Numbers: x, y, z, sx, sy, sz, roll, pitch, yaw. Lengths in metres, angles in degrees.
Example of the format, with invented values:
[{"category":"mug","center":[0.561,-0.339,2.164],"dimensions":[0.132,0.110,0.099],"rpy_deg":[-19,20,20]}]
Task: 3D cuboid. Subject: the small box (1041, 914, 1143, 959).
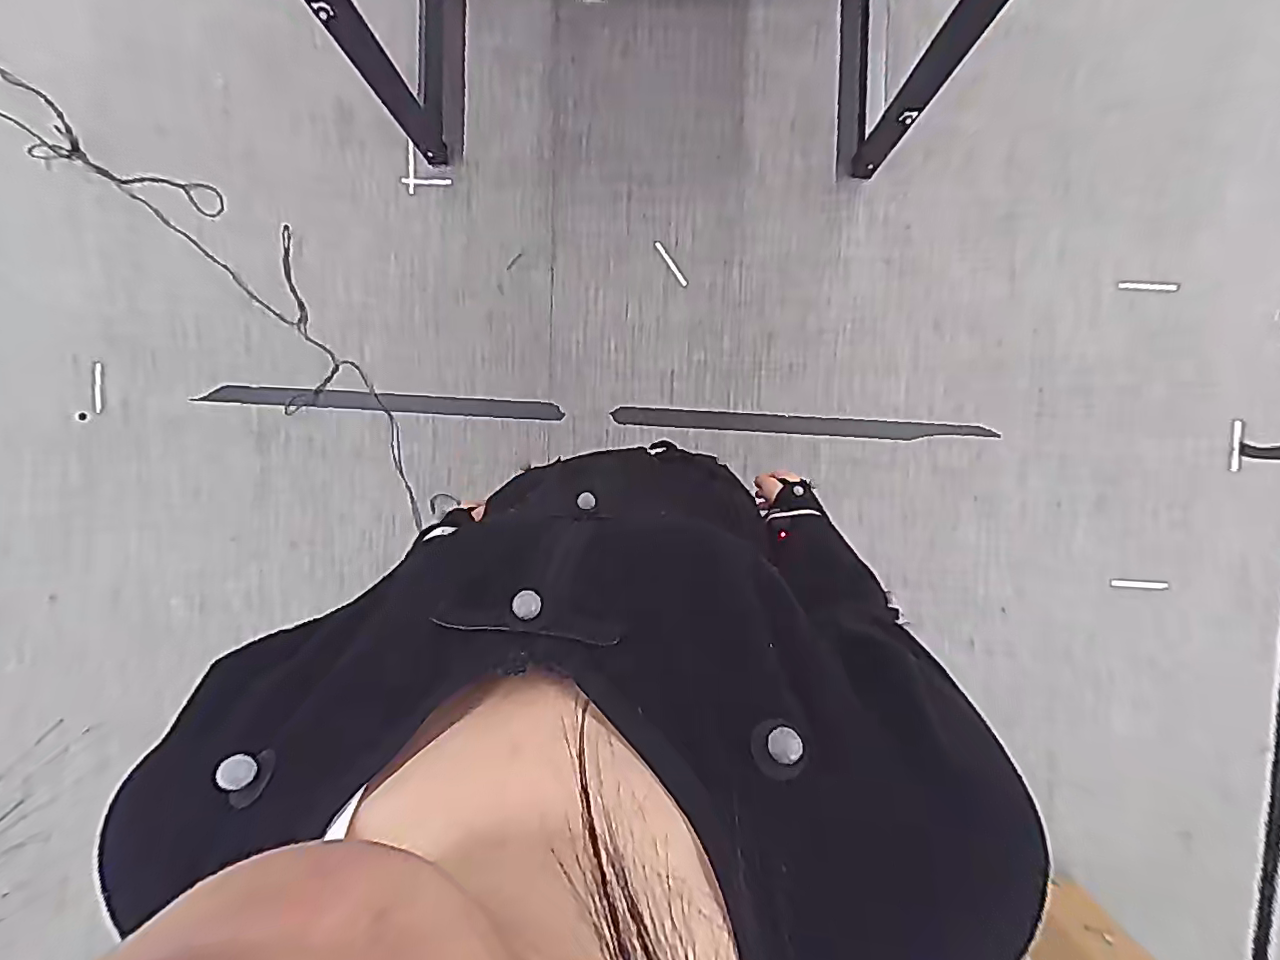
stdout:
[{"category":"small box","center":[1.103,1.199,1.293],"dimensions":[0.168,0.176,0.179],"rpy_deg":[6,92,0]}]
